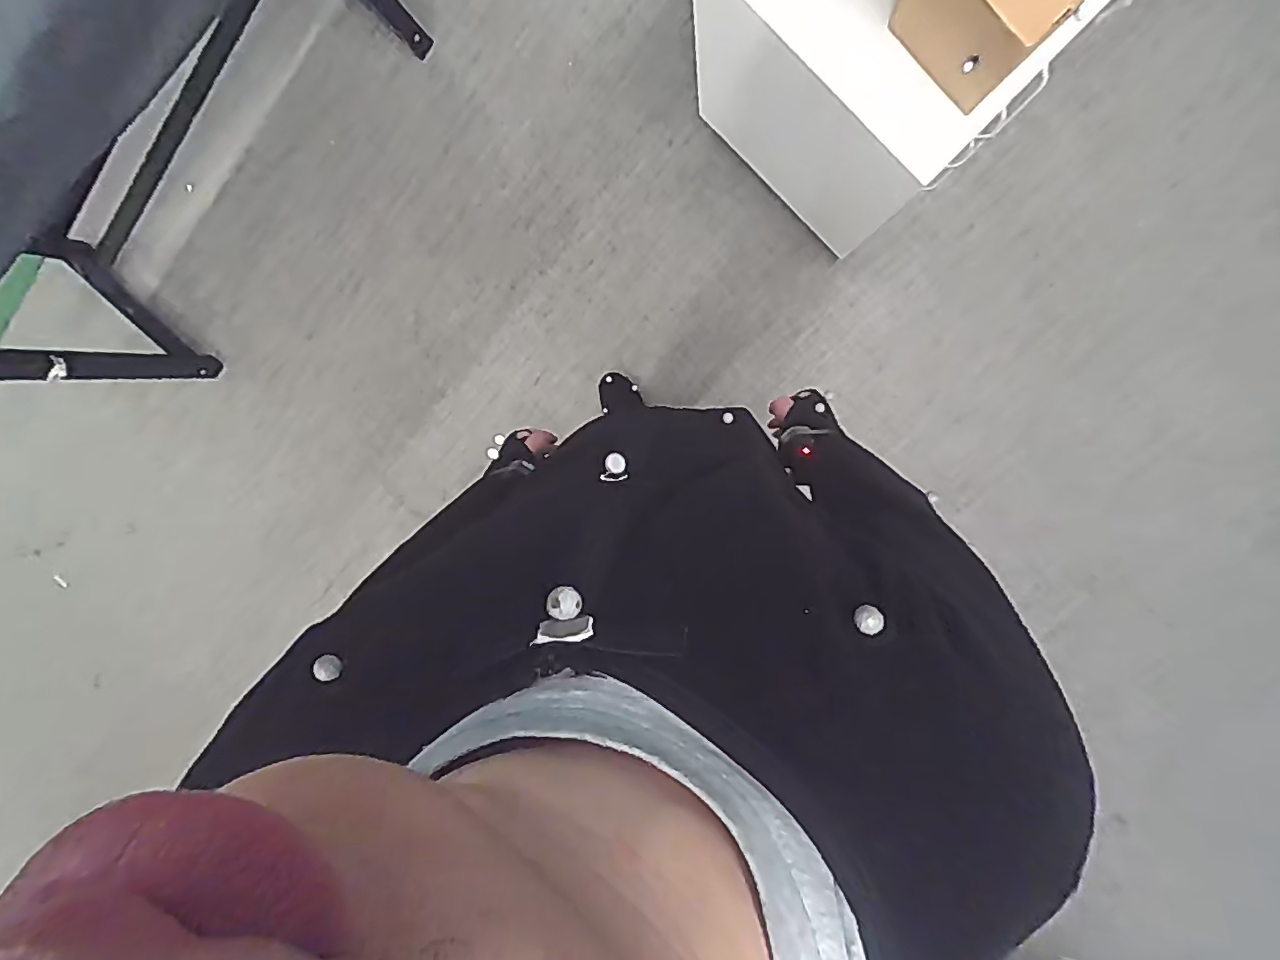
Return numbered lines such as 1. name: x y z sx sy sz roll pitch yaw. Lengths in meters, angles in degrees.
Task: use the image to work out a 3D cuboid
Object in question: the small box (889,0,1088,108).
1. small box: 0.461 -0.626 0.694 0.168 0.176 0.179 -44 91 12
